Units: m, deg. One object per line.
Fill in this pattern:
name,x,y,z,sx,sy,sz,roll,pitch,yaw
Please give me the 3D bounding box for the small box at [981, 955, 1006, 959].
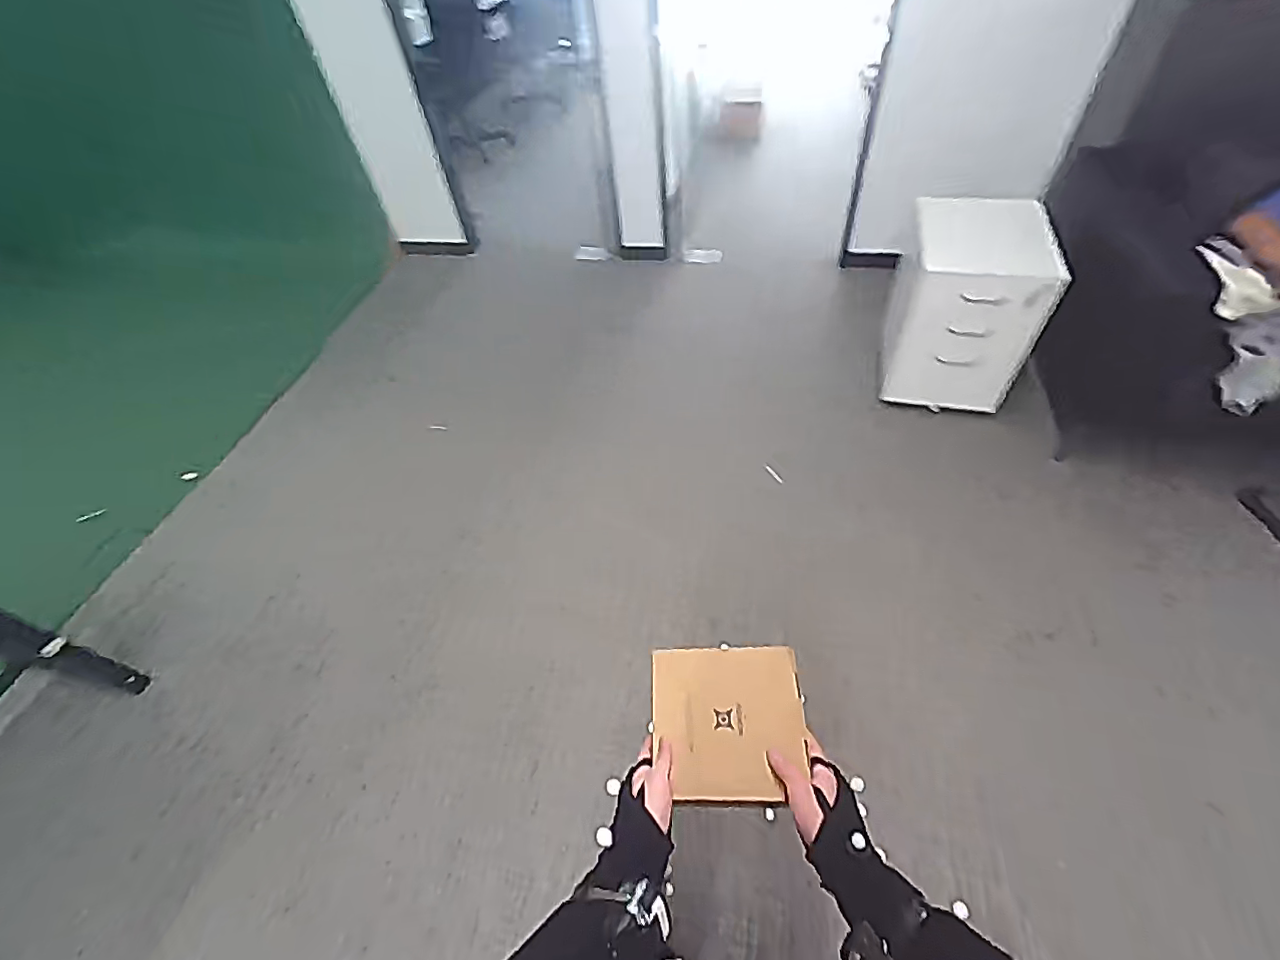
small box,0.641,1.028,1.002,0.168,0.176,0.179,-18,49,-11
